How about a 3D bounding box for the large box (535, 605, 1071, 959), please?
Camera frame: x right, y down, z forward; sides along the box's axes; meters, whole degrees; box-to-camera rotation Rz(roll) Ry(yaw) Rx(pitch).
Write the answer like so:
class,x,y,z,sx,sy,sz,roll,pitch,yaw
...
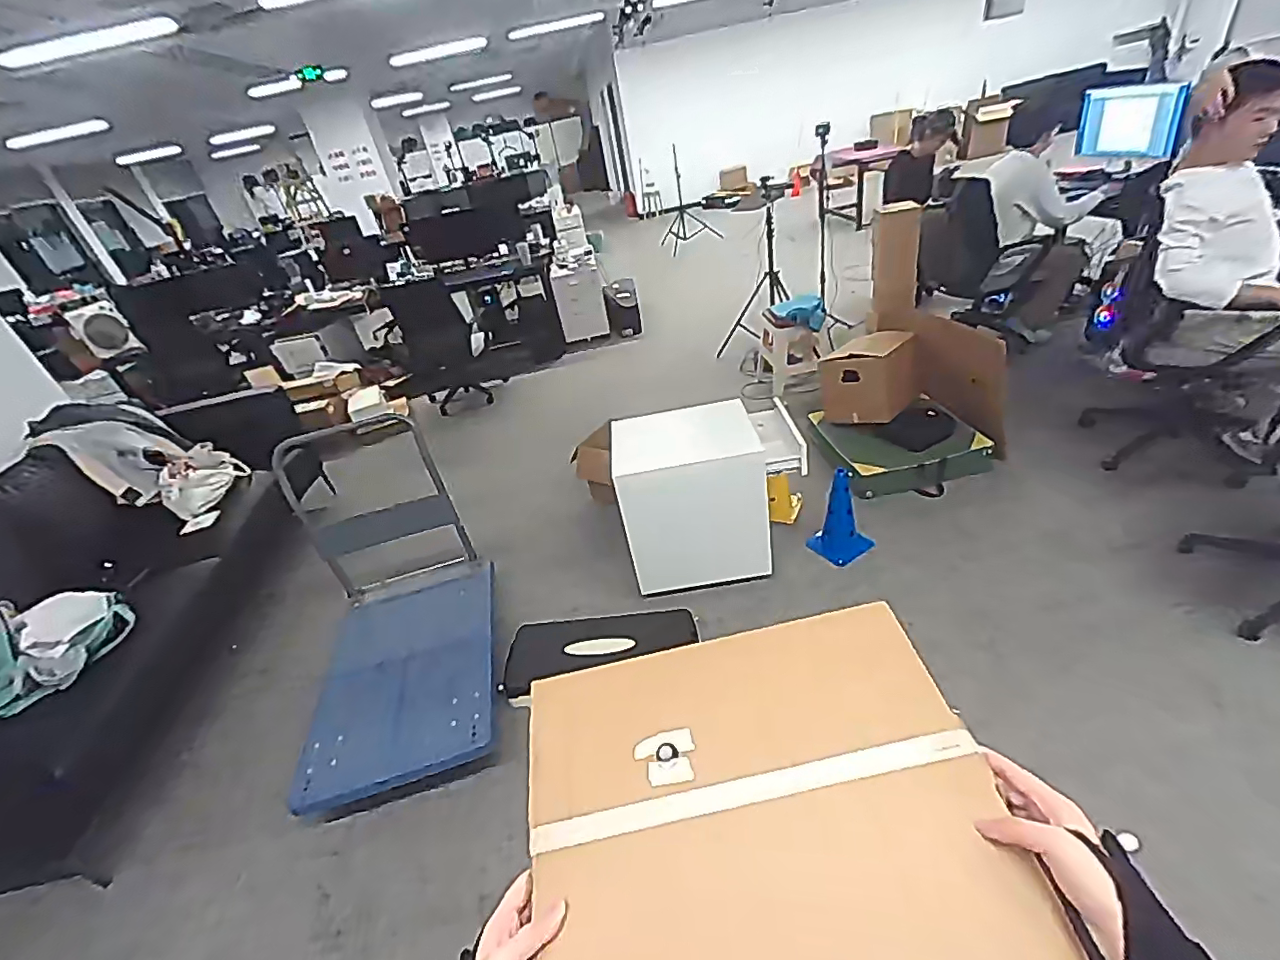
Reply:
class,x,y,z,sx,sy,sz,roll,pitch,yaw
large box,0.130,0.394,0.601,0.408,0.320,0.320,-15,43,2
